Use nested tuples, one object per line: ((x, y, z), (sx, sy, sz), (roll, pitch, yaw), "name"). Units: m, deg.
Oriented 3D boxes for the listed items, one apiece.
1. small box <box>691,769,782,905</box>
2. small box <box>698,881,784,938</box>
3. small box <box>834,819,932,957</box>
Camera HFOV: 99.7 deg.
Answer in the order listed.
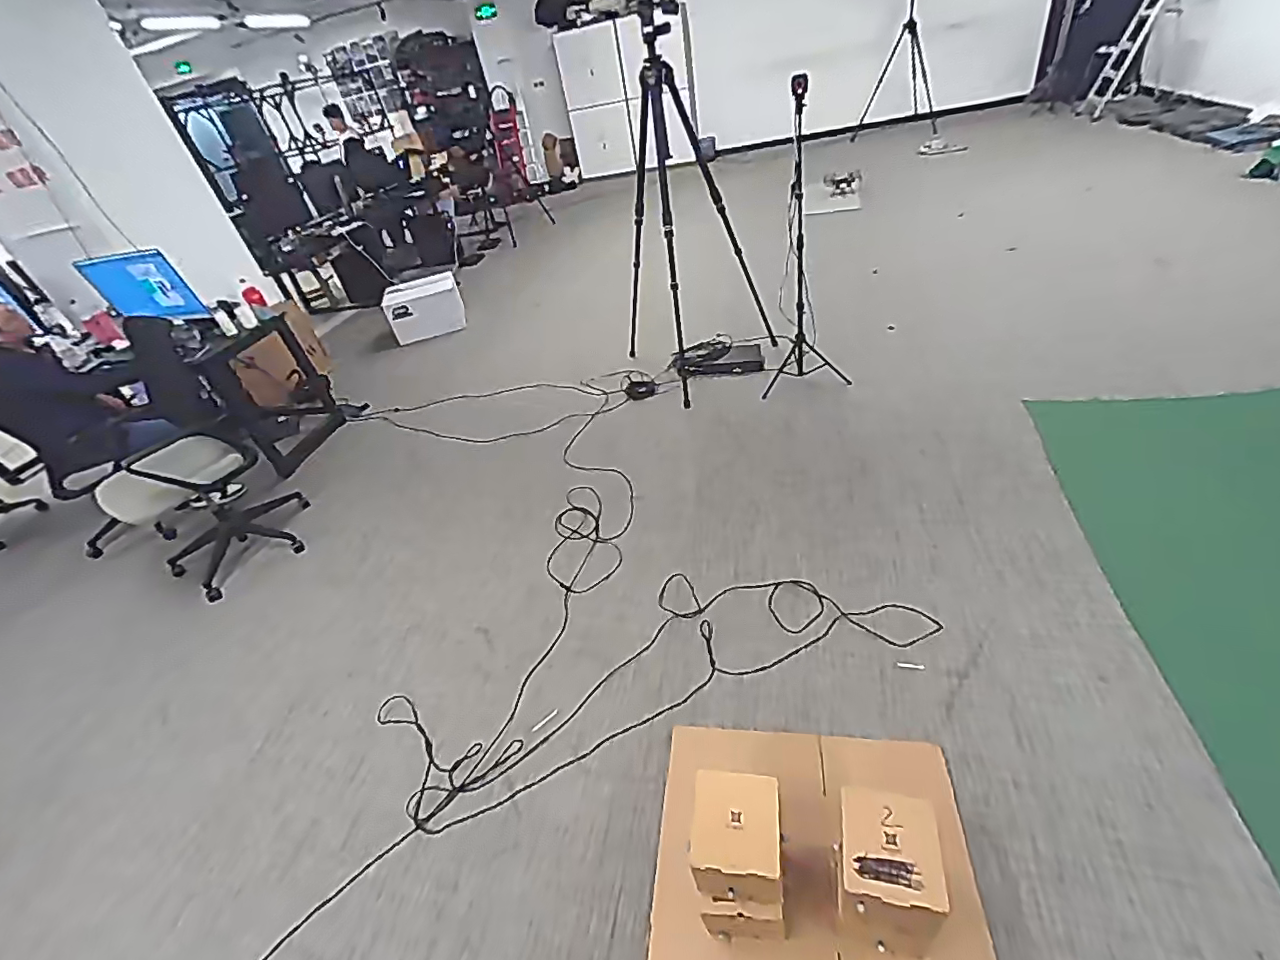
((0.200, 0.721, 1.096), (0.168, 0.176, 0.179), (-2, 39, 14), "small box")
((0.221, 0.864, 1.176), (0.168, 0.176, 0.179), (-4, 39, 12), "small box")
((0.494, 0.844, 1.123), (0.168, 0.176, 0.179), (0, 40, 18), "small box")
